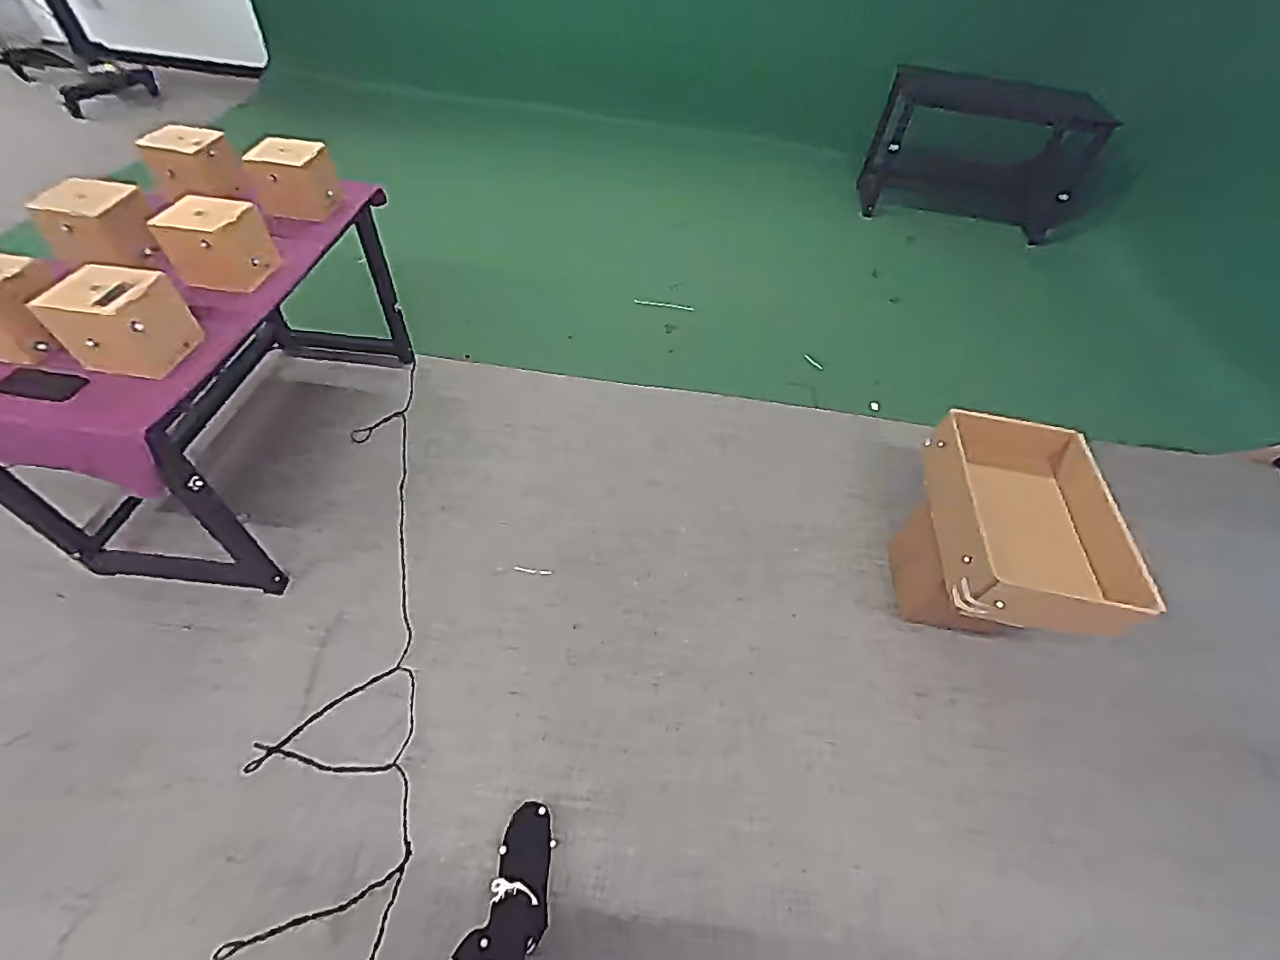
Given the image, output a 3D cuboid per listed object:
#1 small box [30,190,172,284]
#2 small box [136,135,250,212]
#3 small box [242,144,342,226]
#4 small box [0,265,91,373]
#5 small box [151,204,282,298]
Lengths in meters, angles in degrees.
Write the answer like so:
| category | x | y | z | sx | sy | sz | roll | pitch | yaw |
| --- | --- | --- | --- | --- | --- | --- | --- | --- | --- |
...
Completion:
| category | x | y | z | sx | sy | sz | roll | pitch | yaw |
| --- | --- | --- | --- | --- | --- | --- | --- | --- | --- |
| small box | -1.403 | -0.638 | 1.428 | 0.179 | 0.176 | 0.168 | 6 | 52 | -1 |
| small box | -1.370 | -0.939 | 1.673 | 0.179 | 0.176 | 0.168 | 7 | 52 | 1 |
| small box | -1.062 | -0.907 | 1.668 | 0.179 | 0.176 | 0.168 | 6 | 52 | -1 |
| small box | -1.404 | -0.356 | 1.196 | 0.179 | 0.176 | 0.168 | 5 | 51 | 0 |
| small box | -1.099 | -0.598 | 1.420 | 0.179 | 0.176 | 0.168 | 7 | 51 | 2 |
